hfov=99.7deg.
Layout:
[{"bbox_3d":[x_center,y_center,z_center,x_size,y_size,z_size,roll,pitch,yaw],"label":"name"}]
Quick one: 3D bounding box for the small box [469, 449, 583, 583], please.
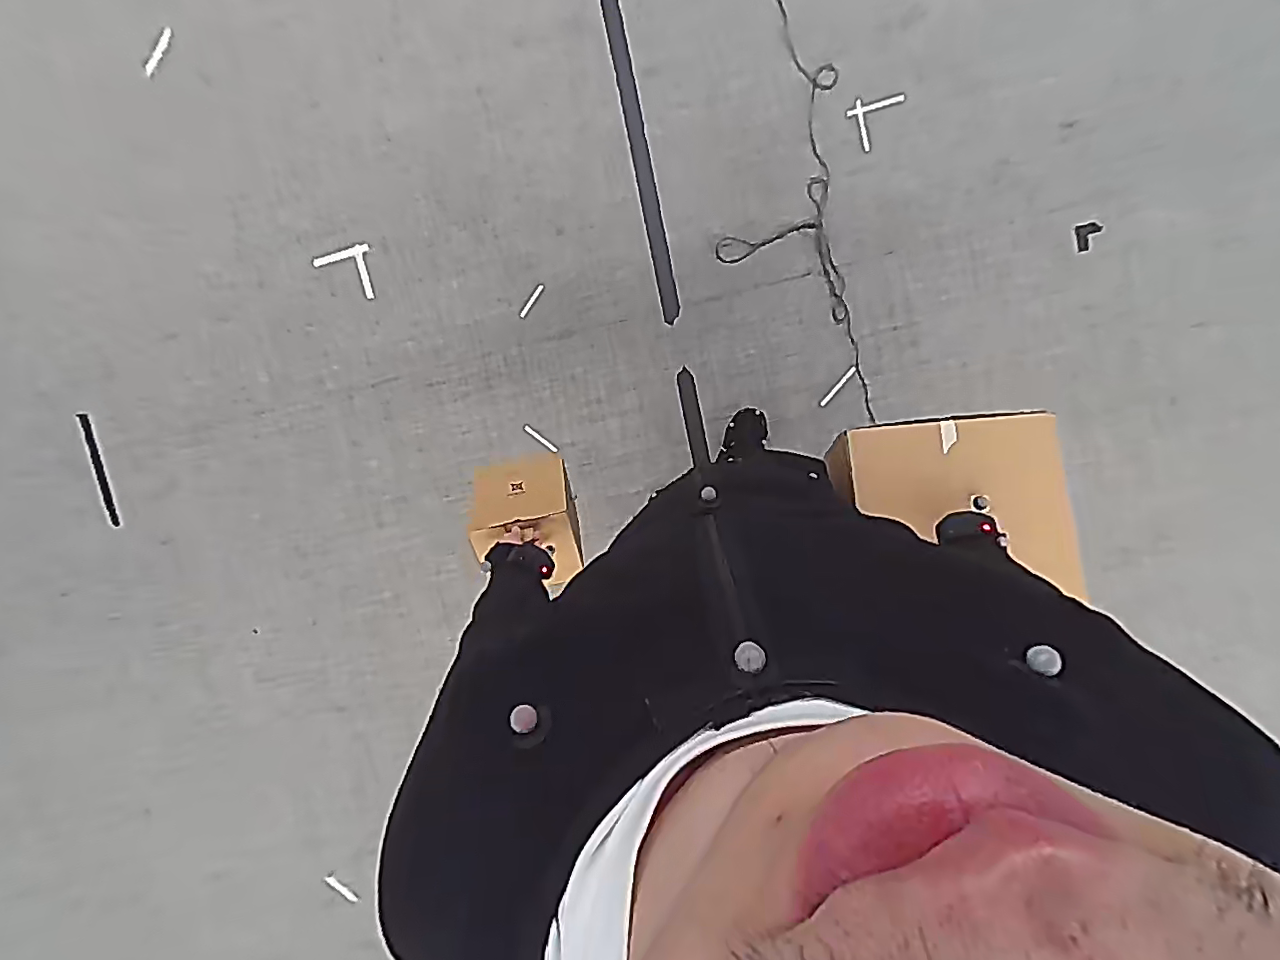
[{"bbox_3d":[-0.204,0.071,0.996,0.168,0.179,0.176,-11,130,-4],"label":"small box"}]
